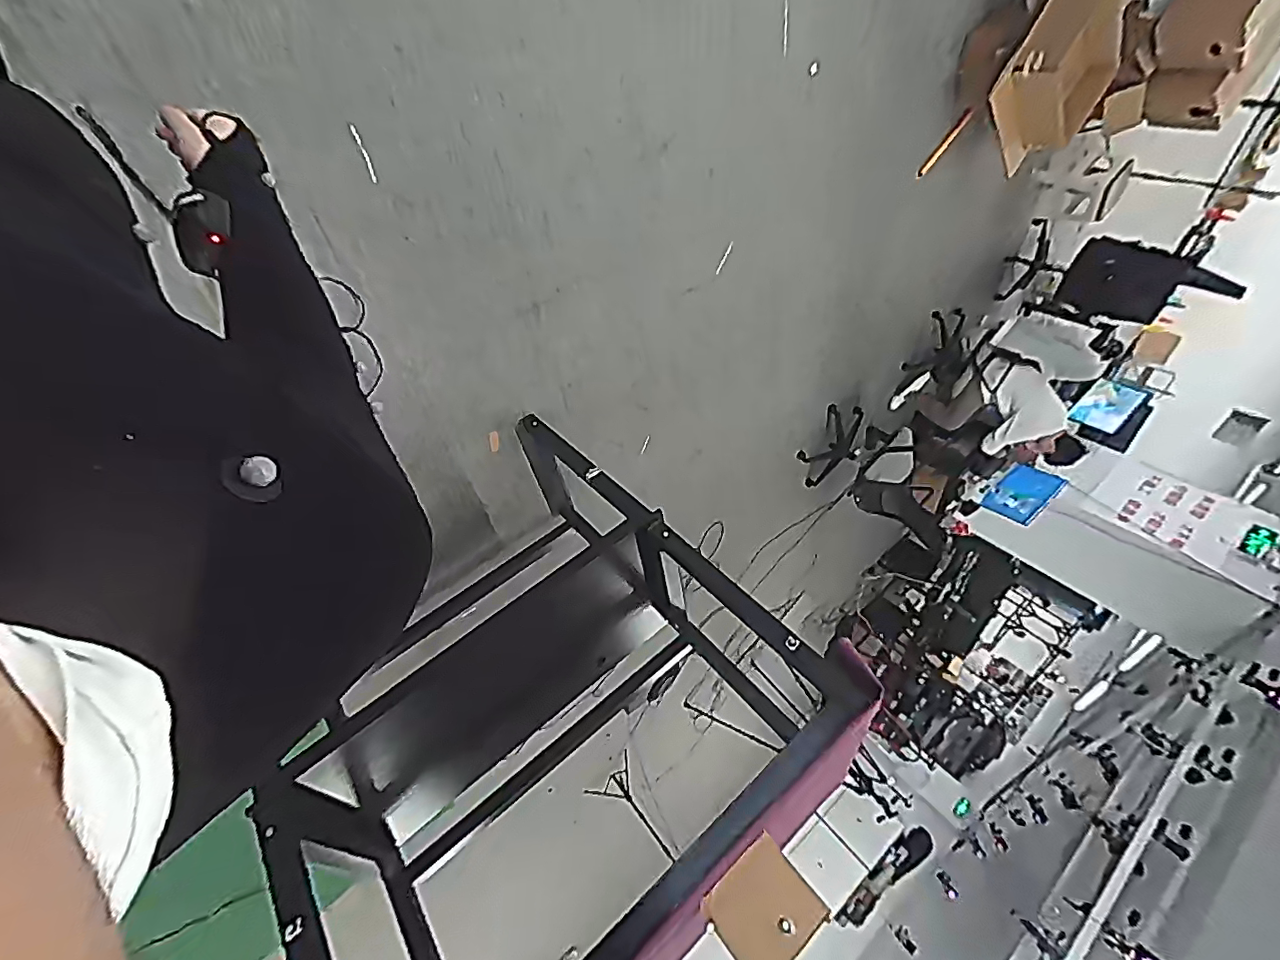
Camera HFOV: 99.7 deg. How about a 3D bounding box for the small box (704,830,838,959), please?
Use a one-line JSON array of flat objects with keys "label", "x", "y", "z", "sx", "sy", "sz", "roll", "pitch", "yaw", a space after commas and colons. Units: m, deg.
[{"label": "small box", "x": 0.243, "y": 0.818, "z": 1.037, "sx": 0.179, "sy": 0.176, "sz": 0.168, "roll": -32, "pitch": 140, "yaw": -23}]
